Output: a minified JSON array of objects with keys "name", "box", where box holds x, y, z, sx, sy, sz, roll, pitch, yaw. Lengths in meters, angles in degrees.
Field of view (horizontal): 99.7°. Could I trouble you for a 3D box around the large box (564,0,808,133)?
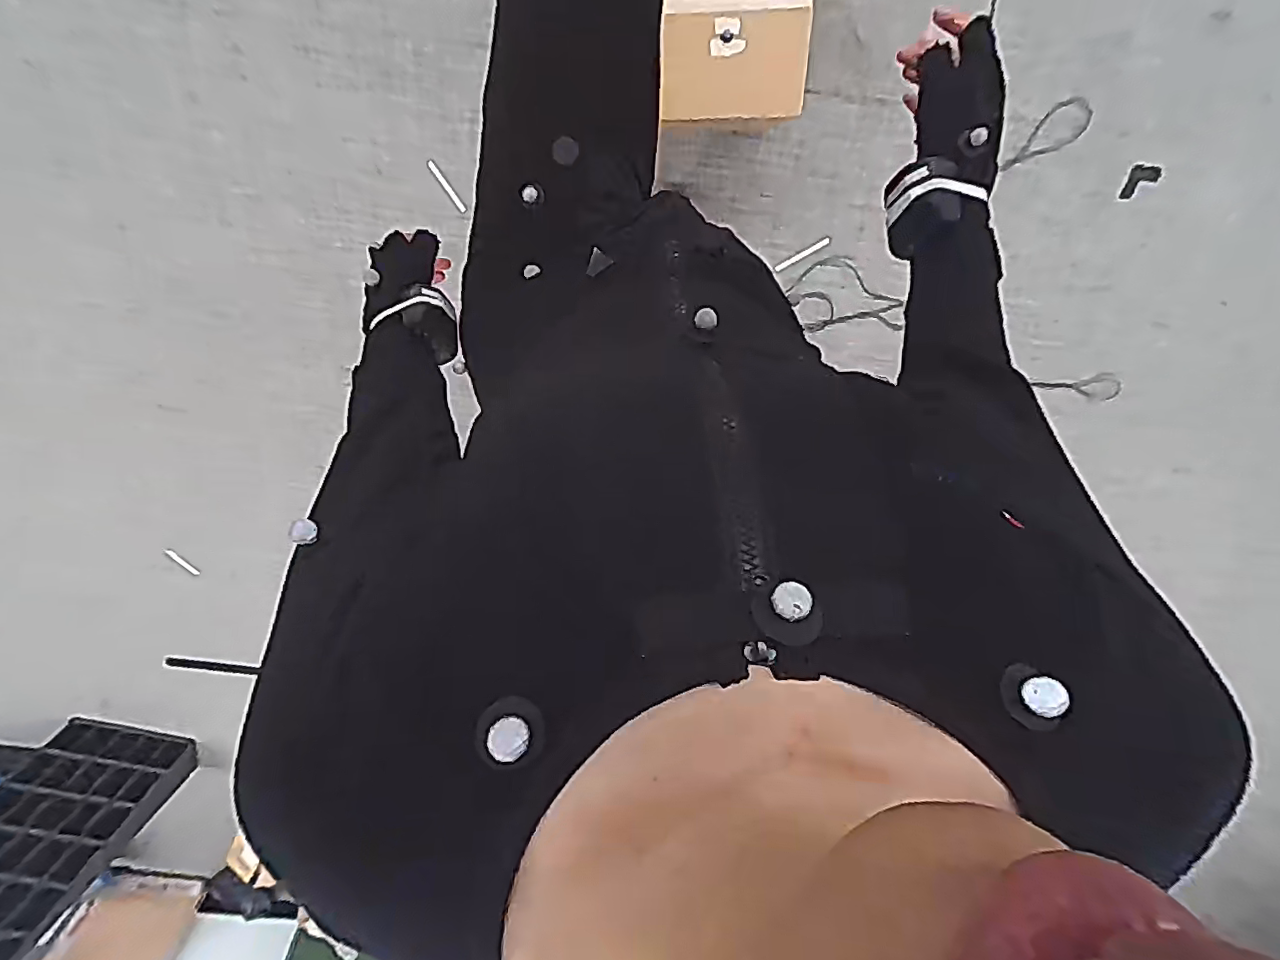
[{"name":"large box","box":[0.074,-0.848,1.004,0.408,0.320,0.320,0,119,1]}]
